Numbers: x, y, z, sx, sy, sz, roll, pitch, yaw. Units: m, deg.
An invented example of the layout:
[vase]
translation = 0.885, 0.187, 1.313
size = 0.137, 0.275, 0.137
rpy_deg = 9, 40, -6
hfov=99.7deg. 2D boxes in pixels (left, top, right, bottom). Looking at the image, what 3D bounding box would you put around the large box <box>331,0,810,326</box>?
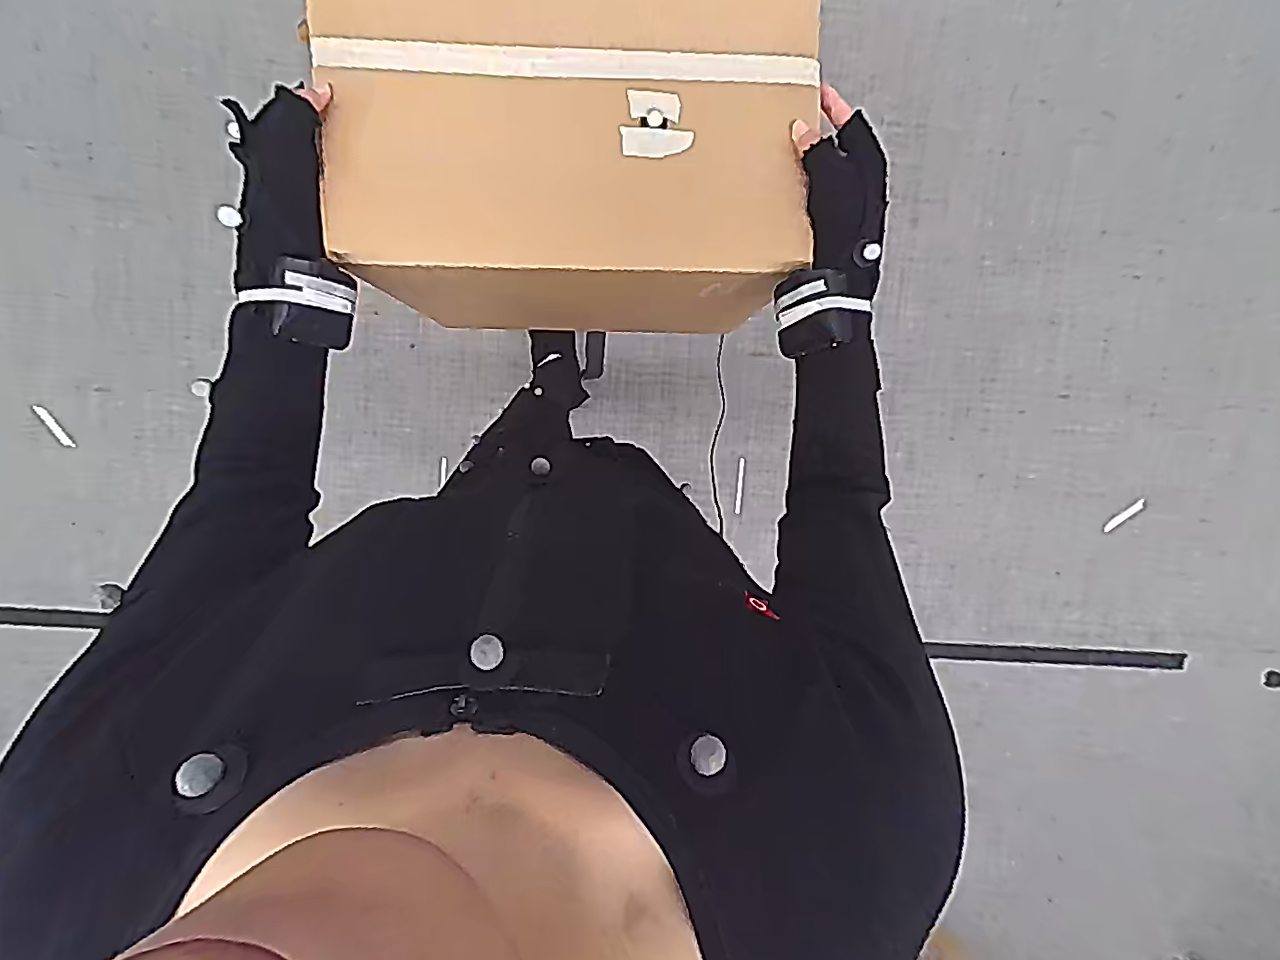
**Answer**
[large box]
translation = -0.065, -0.358, 0.602
size = 0.408, 0.320, 0.320
rpy_deg = -1, 97, -4
